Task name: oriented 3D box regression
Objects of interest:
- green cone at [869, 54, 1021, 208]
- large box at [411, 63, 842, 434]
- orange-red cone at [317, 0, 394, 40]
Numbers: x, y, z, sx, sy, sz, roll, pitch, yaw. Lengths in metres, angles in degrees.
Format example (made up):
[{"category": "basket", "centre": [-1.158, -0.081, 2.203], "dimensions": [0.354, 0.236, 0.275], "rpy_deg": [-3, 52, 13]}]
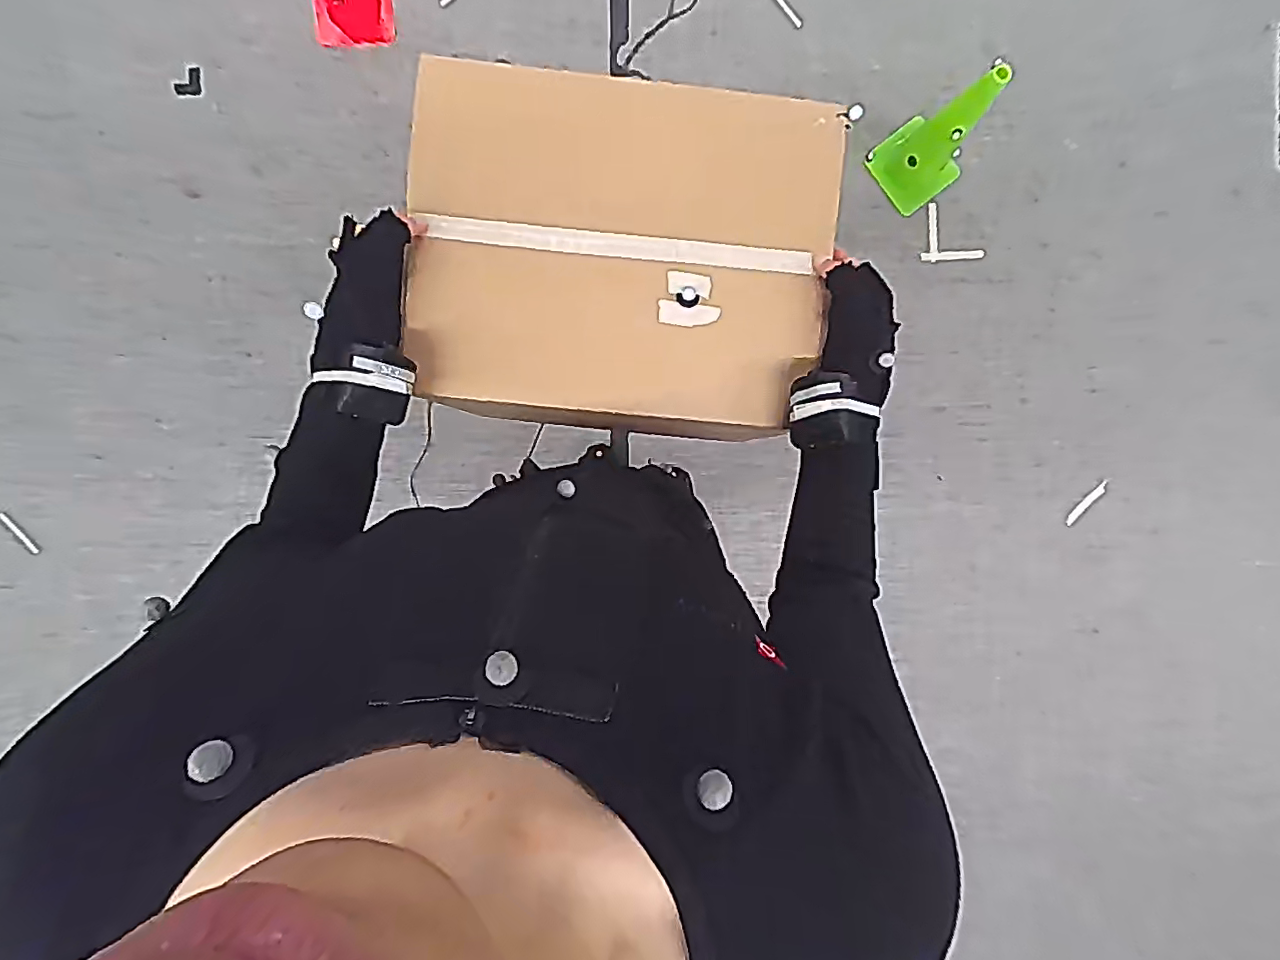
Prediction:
[{"category": "green cone", "centre": [0.751, -0.855, 1.284], "dimensions": [0.202, 0.368, 0.200], "rpy_deg": [-39, 94, -1]}, {"category": "large box", "centre": [-0.020, -0.231, 0.667], "dimensions": [0.408, 0.320, 0.320], "rpy_deg": [5, 92, -3]}, {"category": "orange-red cone", "centre": [-0.739, -1.234, 1.231], "dimensions": [0.198, 0.360, 0.199], "rpy_deg": [-3, 94, 0]}]
